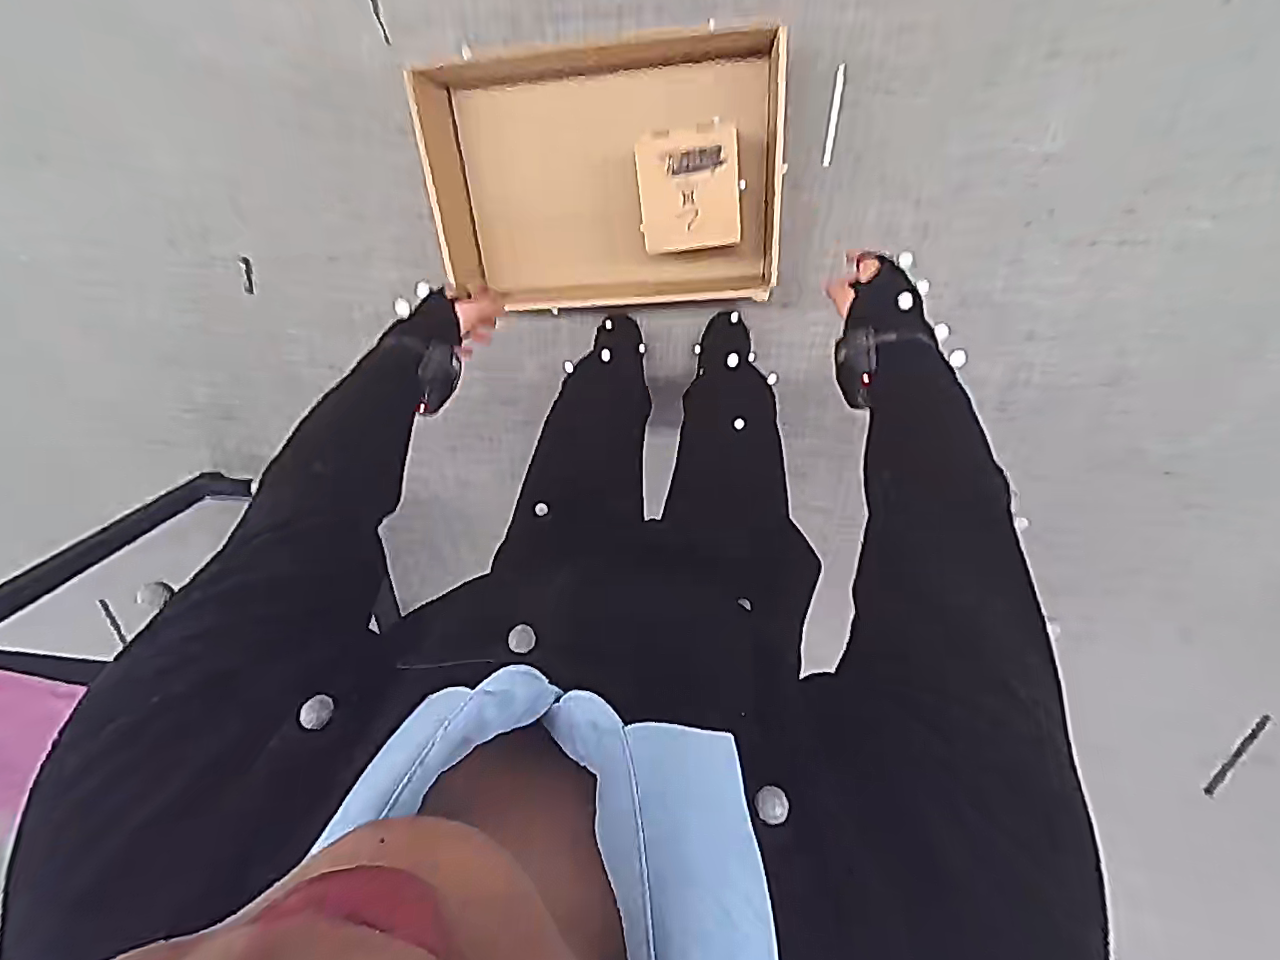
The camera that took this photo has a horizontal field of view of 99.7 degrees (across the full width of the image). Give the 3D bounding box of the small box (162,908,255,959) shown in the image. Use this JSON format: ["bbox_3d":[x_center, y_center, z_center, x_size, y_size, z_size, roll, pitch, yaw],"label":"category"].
[{"bbox_3d":[-1.007,1.092,1.202,0.168,0.176,0.179,4,117,6],"label":"small box"}]
